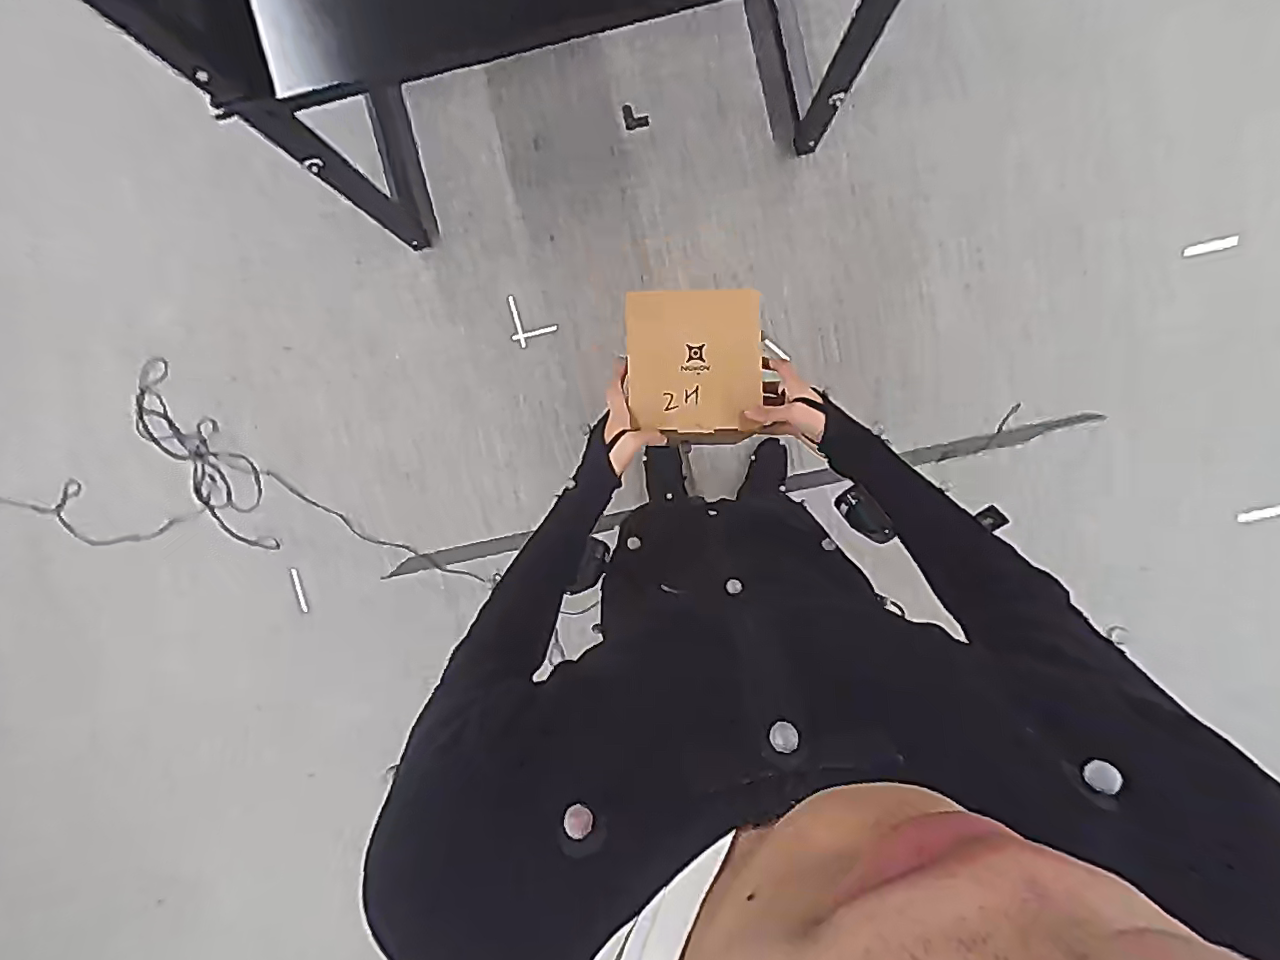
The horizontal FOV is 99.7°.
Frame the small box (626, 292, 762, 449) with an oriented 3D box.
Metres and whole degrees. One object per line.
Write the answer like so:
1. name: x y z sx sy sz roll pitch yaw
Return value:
1. small box: 0.065 -0.138 0.737 0.168 0.176 0.179 0 88 -1
